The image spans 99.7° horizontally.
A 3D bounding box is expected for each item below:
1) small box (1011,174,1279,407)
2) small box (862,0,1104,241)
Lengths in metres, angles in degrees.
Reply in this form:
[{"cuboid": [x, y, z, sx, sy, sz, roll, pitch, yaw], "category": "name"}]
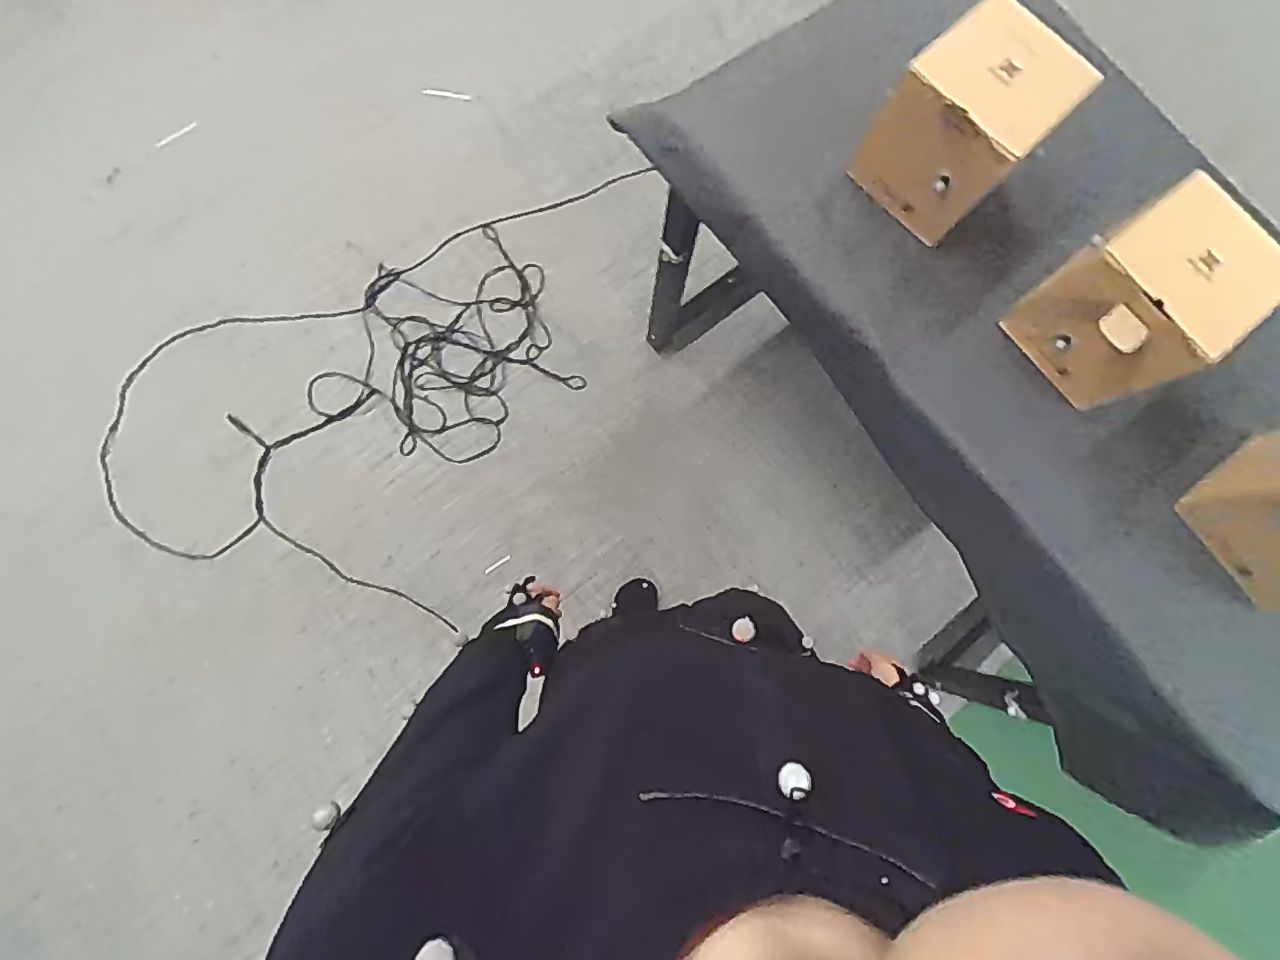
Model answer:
[{"cuboid": [0.620, -0.220, 0.668, 0.179, 0.176, 0.168, -38, 84, -9], "category": "small box"}, {"cuboid": [0.421, -0.454, 0.701, 0.179, 0.176, 0.168, -44, 86, -11], "category": "small box"}]
